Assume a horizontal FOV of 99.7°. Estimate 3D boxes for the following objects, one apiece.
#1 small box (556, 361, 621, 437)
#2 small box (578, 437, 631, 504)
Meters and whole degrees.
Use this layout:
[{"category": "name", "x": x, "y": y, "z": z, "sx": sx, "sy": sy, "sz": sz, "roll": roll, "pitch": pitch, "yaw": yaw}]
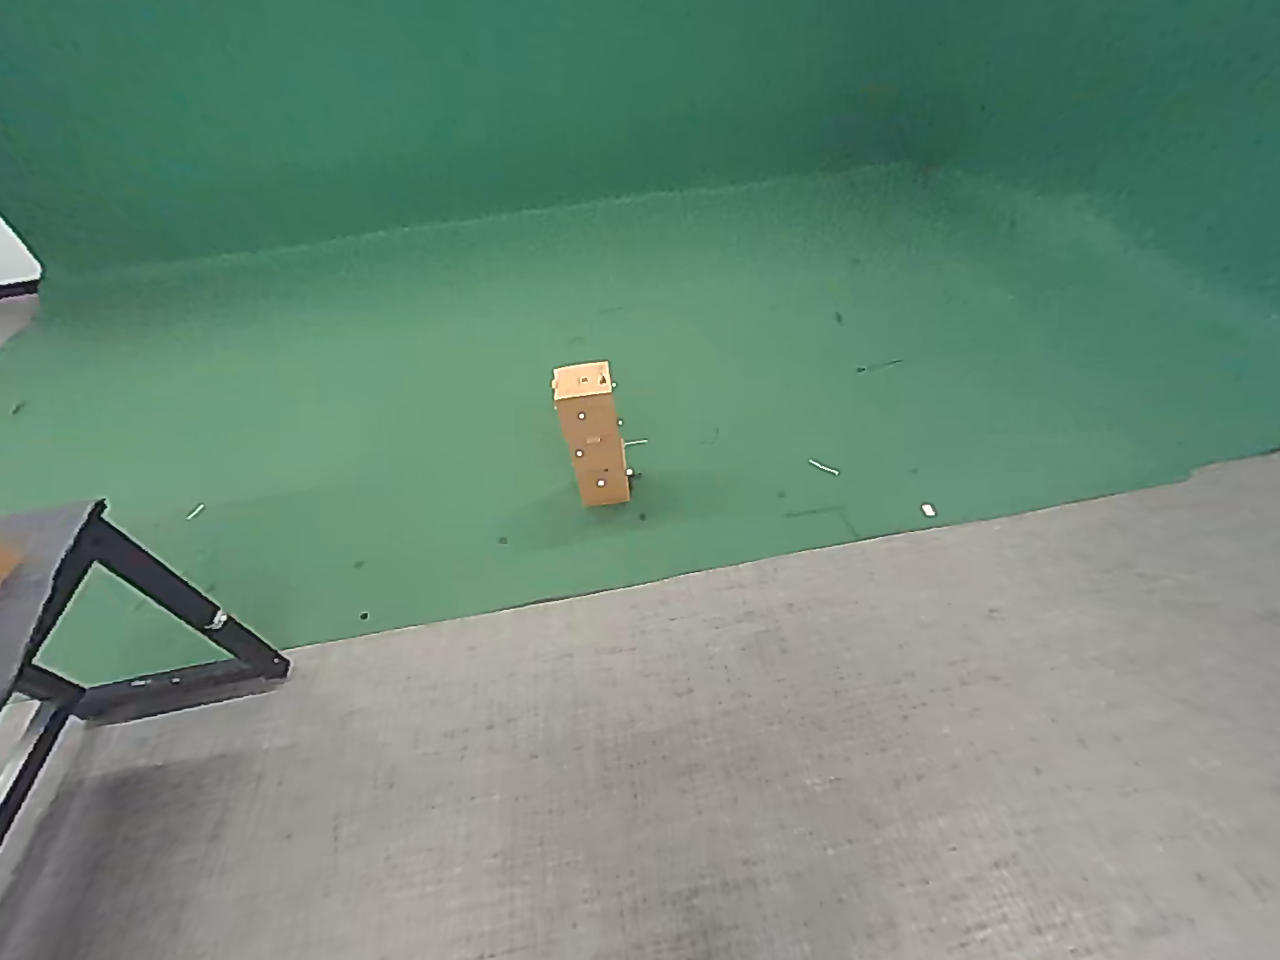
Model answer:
[{"category": "small box", "x": -0.163, "y": -0.252, "z": 1.710, "sx": 0.179, "sy": 0.176, "sz": 0.168, "roll": -8, "pitch": 47, "yaw": -1}, {"category": "small box", "x": -0.126, "y": -0.031, "z": 1.950, "sx": 0.179, "sy": 0.176, "sz": 0.168, "roll": -7, "pitch": 48, "yaw": 0}]
